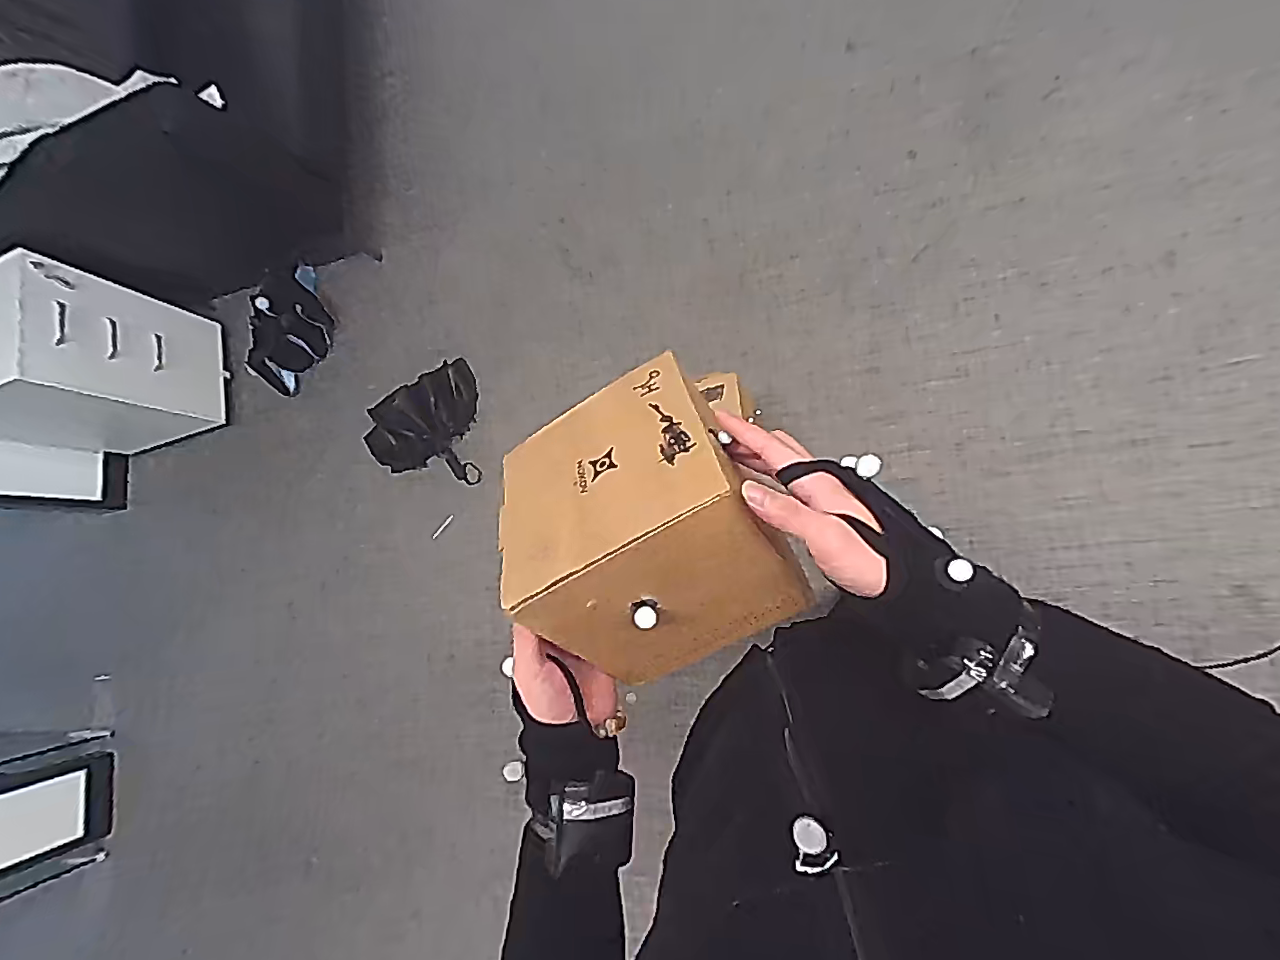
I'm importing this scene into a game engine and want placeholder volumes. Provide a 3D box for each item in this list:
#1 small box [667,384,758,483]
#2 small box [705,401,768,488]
[{"bbox_3d":[0.169,-0.099,1.237,0.168,0.176,0.179,-10,80,18],"label":"small box"},{"bbox_3d":[0.228,-0.084,1.390,0.168,0.176,0.179,-12,80,18],"label":"small box"}]
